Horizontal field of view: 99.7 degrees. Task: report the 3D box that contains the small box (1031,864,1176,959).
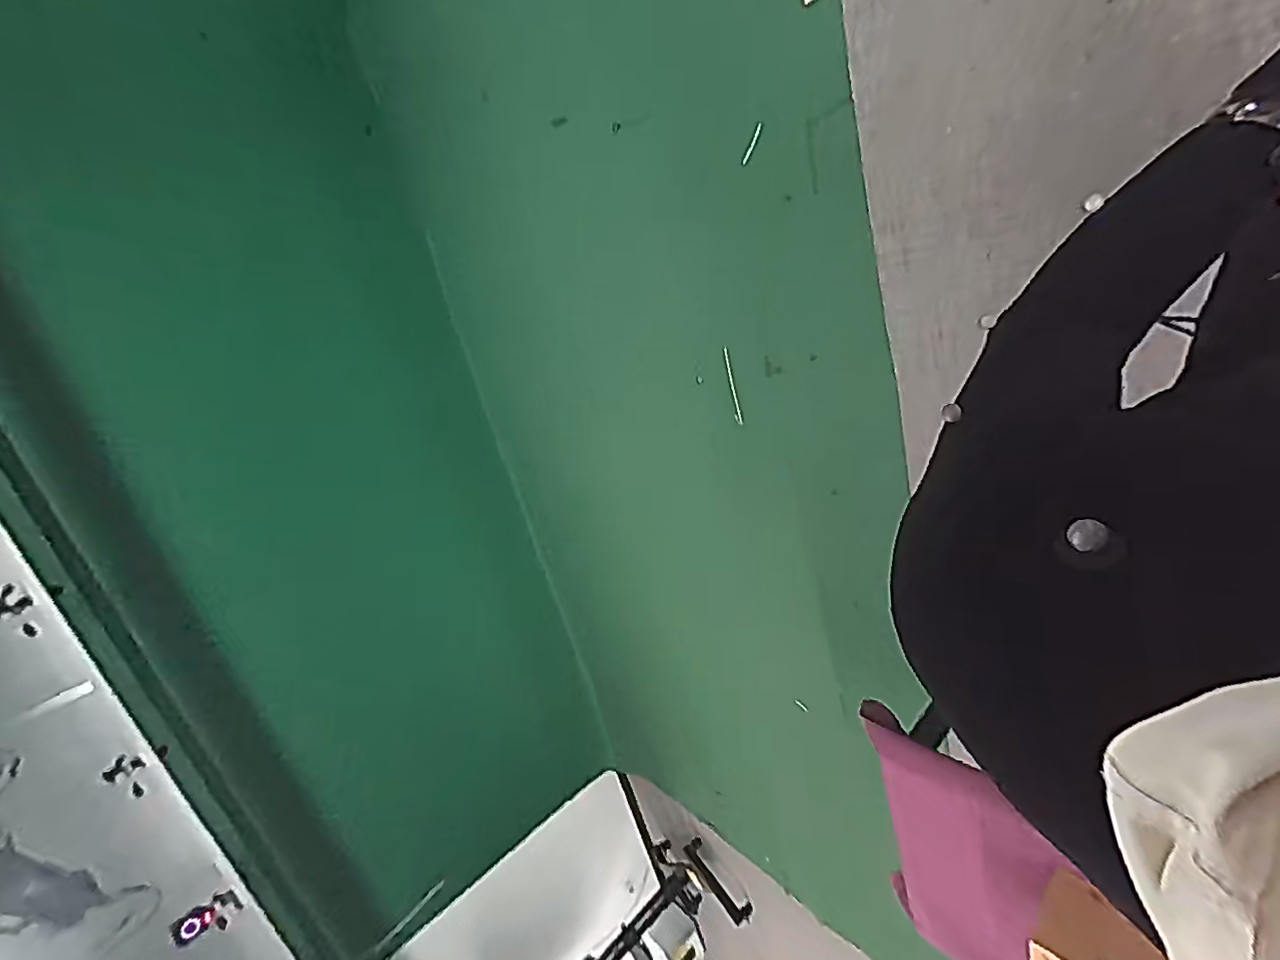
[{"bbox_3d":[0.825,0.850,0.962,0.168,0.176,0.179,6,118,52],"label":"small box"}]
